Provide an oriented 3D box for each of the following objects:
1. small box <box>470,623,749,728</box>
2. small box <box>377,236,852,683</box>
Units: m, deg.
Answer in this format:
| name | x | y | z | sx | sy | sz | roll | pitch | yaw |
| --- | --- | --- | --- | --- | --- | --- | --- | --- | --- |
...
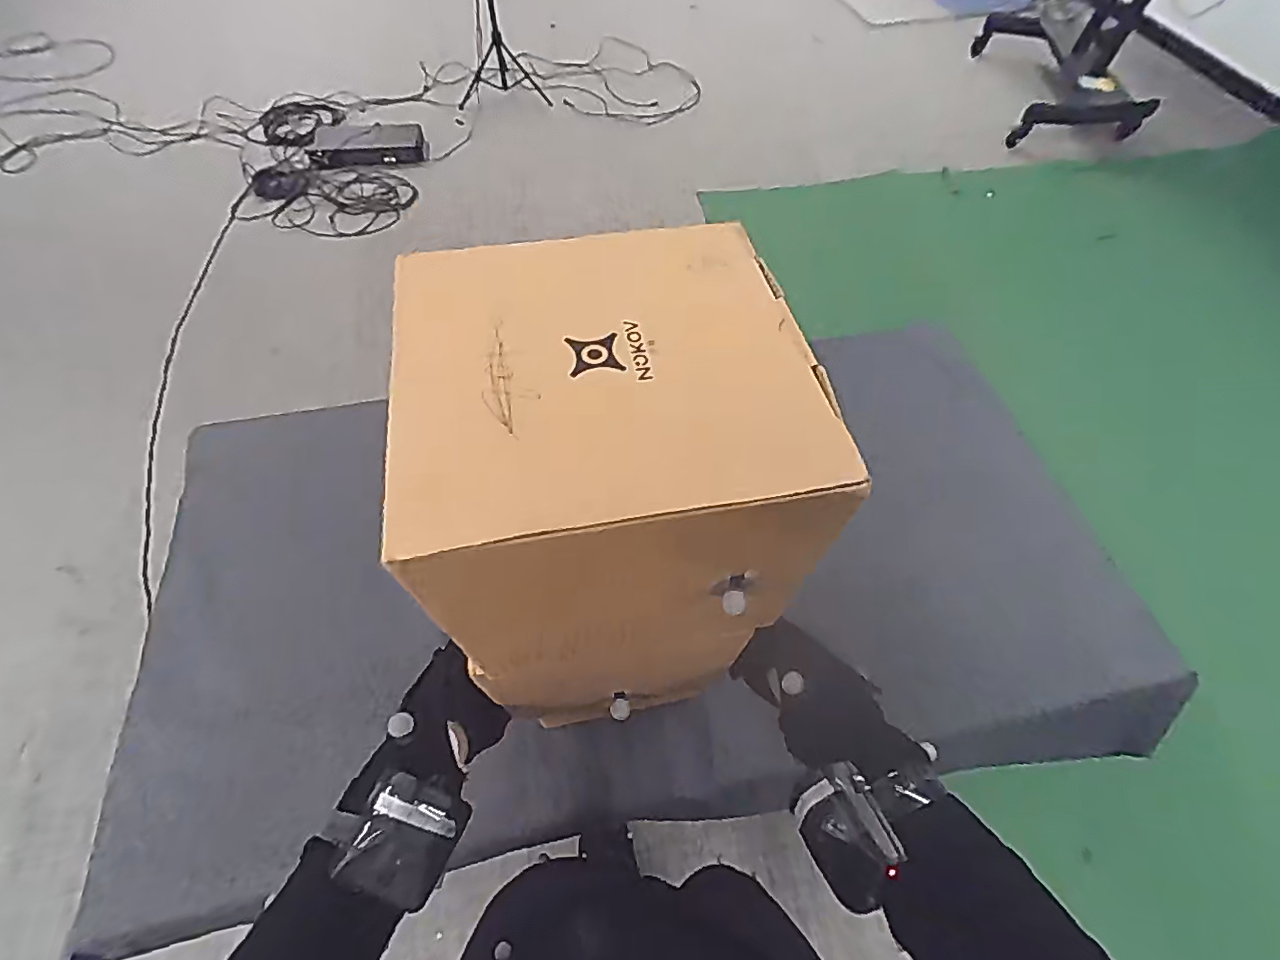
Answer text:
| name | x | y | z | sx | sy | sz | roll | pitch | yaw |
| --- | --- | --- | --- | --- | --- | --- | --- | --- | --- |
| small box | -0.033 | 0.086 | 0.437 | 0.179 | 0.176 | 0.168 | -10 | 58 | -7 |
| small box | -0.021 | -0.003 | 0.300 | 0.179 | 0.176 | 0.168 | -10 | 57 | -7 |
